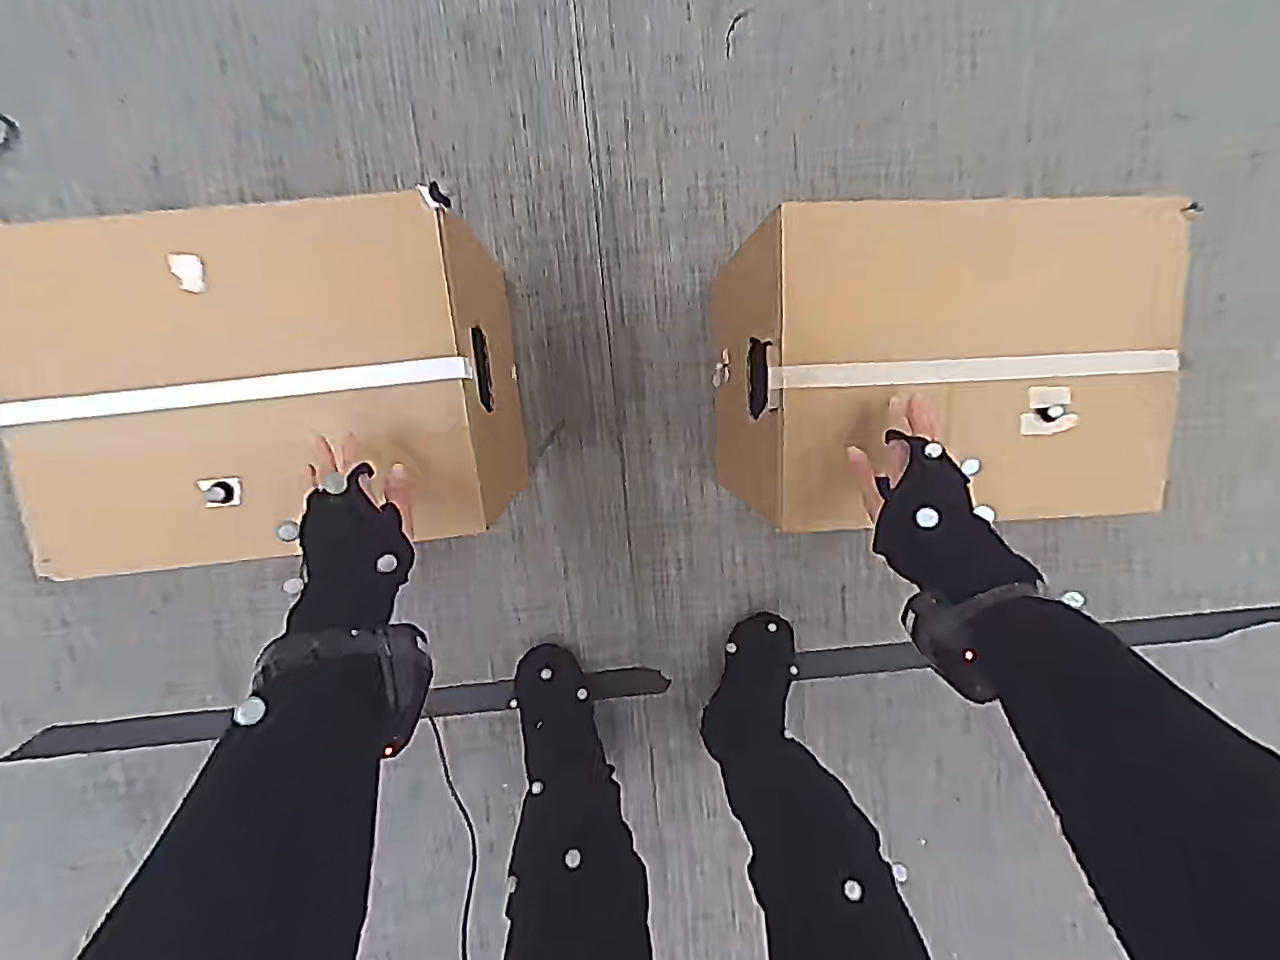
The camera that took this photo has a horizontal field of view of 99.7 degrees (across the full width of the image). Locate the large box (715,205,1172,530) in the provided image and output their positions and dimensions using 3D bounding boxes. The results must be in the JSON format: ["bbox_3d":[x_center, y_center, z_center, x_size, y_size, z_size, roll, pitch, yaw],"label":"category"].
[{"bbox_3d":[0.326,-0.130,0.690,0.408,0.320,0.320,-3,99,-4],"label":"large box"}]
